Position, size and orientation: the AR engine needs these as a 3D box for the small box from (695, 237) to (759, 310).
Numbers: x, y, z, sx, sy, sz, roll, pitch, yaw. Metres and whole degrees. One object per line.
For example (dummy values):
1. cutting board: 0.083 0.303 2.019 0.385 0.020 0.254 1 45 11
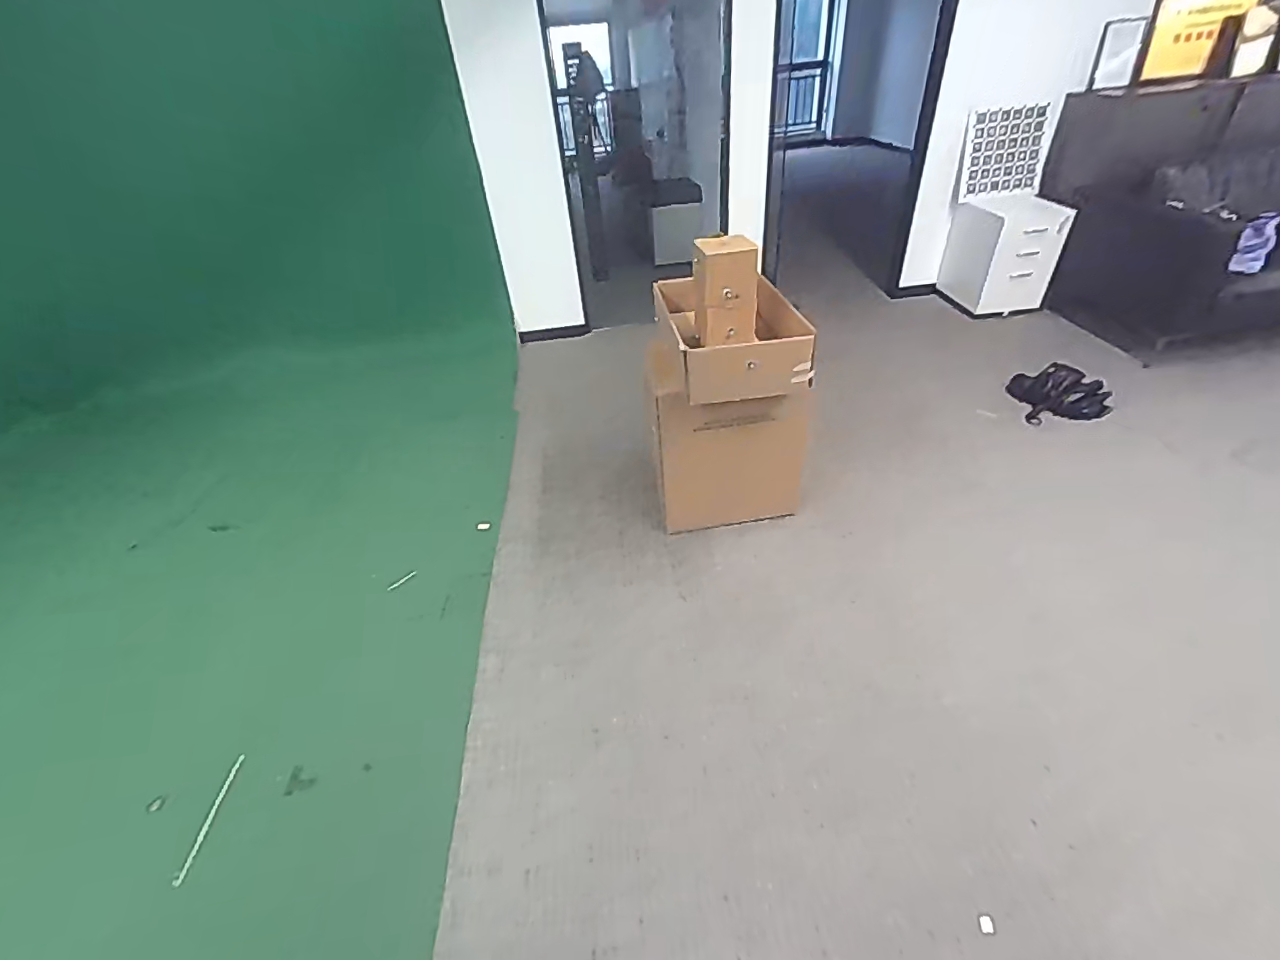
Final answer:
1. small box: 0.271 -0.657 1.724 0.168 0.176 0.179 -10 39 -4
